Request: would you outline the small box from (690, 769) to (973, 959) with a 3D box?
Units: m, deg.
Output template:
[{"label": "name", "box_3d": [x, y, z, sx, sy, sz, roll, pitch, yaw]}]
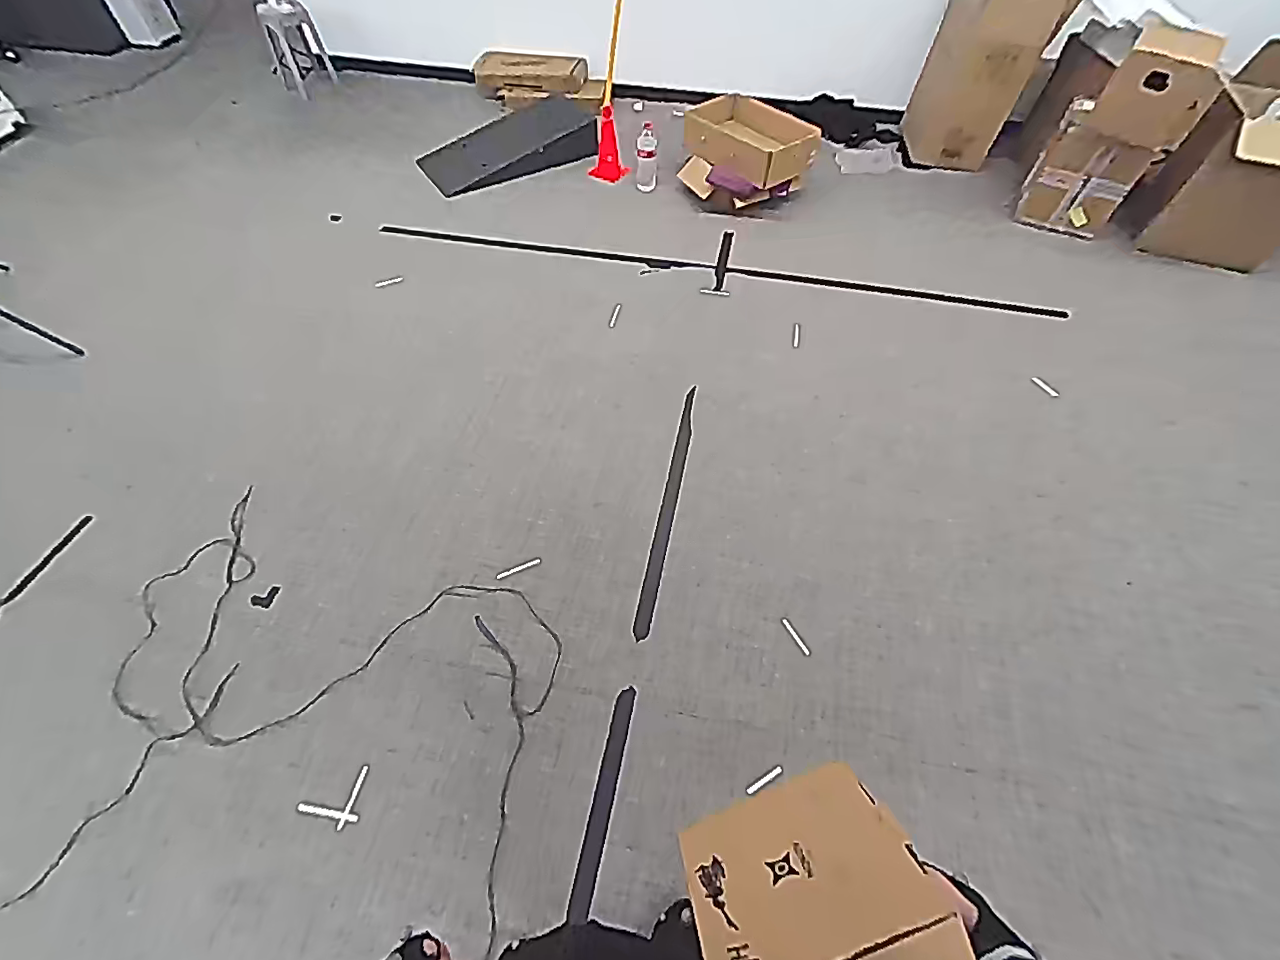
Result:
[{"label": "small box", "box_3d": [0.162, 0.396, 0.456, 0.179, 0.168, 0.176, -22, 96, -3]}]
